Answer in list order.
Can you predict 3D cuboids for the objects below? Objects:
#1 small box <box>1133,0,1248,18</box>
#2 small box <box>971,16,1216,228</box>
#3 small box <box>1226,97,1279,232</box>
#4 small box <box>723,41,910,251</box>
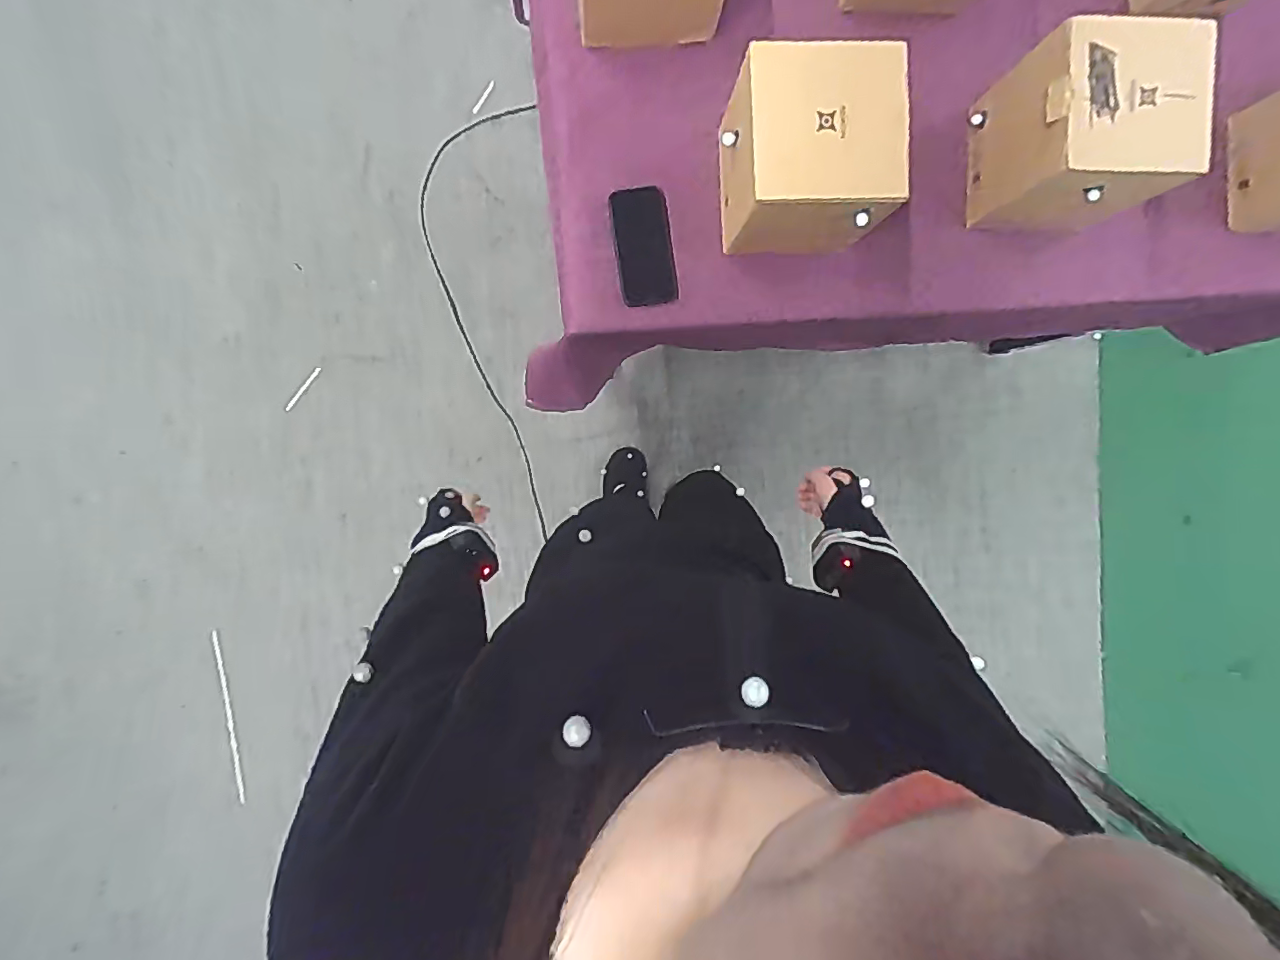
[{"bbox_3d":[0.761,-0.733,0.672,0.168,0.176,0.179,-7,95,-3],"label":"small box"},{"bbox_3d":[0.552,-0.433,0.682,0.179,0.176,0.168,-1,95,-5],"label":"small box"},{"bbox_3d":[0.942,-0.440,0.706,0.179,0.176,0.168,-5,94,-3],"label":"small box"},{"bbox_3d":[0.202,-0.392,0.664,0.179,0.176,0.168,-3,94,-5],"label":"small box"}]
